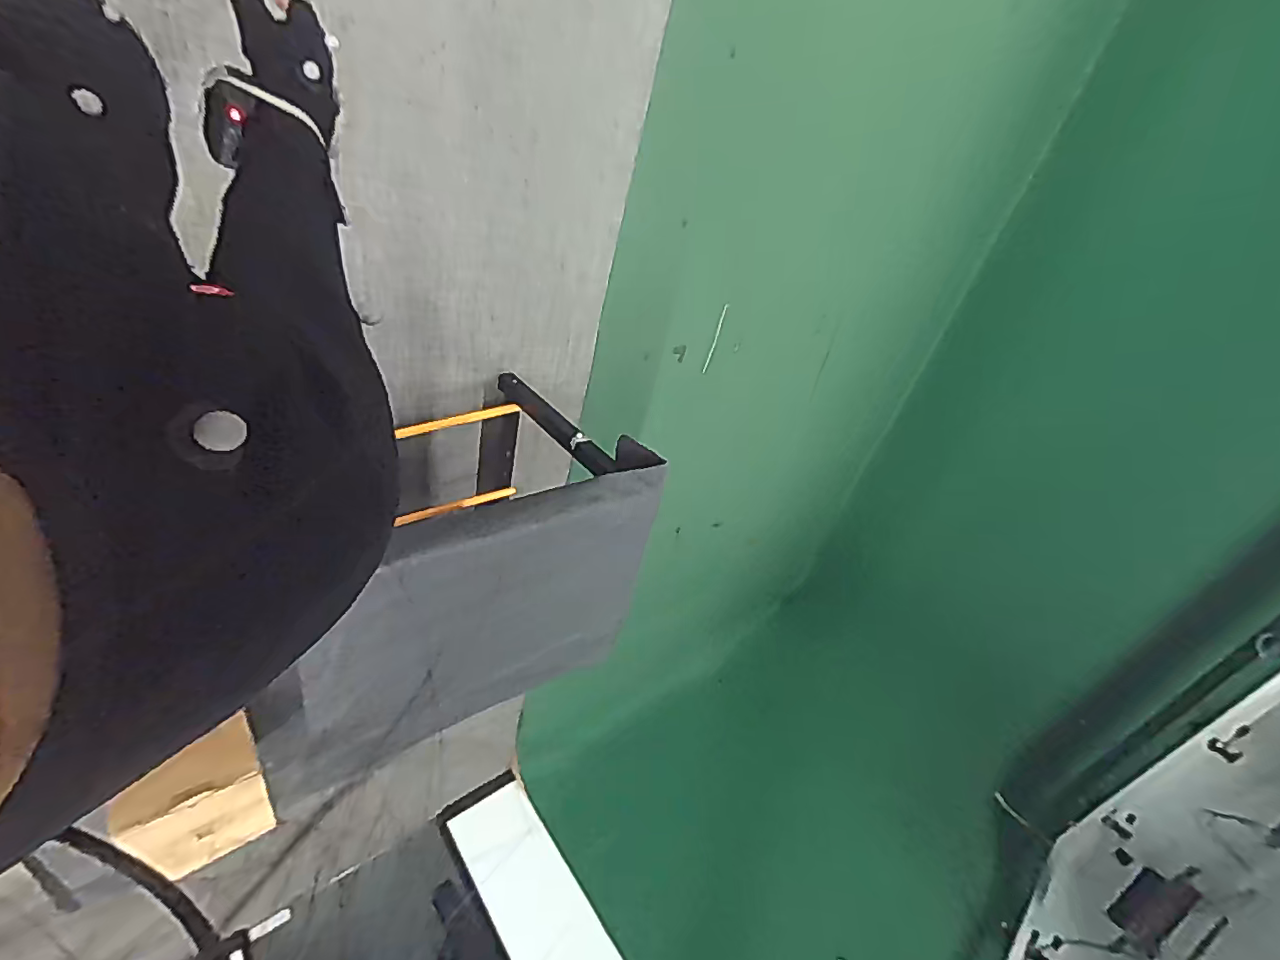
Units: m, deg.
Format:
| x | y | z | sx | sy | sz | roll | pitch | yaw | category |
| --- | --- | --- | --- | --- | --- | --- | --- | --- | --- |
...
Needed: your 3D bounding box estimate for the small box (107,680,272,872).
| x | y | z | sx | sy | sz | roll | pitch | yaw | category |
| --- | --- | --- | --- | --- | --- | --- | --- | --- | --- |
| -0.705 | 0.456 | 0.854 | 0.168 | 0.176 | 0.179 | -16 | 134 | -39 | small box |
